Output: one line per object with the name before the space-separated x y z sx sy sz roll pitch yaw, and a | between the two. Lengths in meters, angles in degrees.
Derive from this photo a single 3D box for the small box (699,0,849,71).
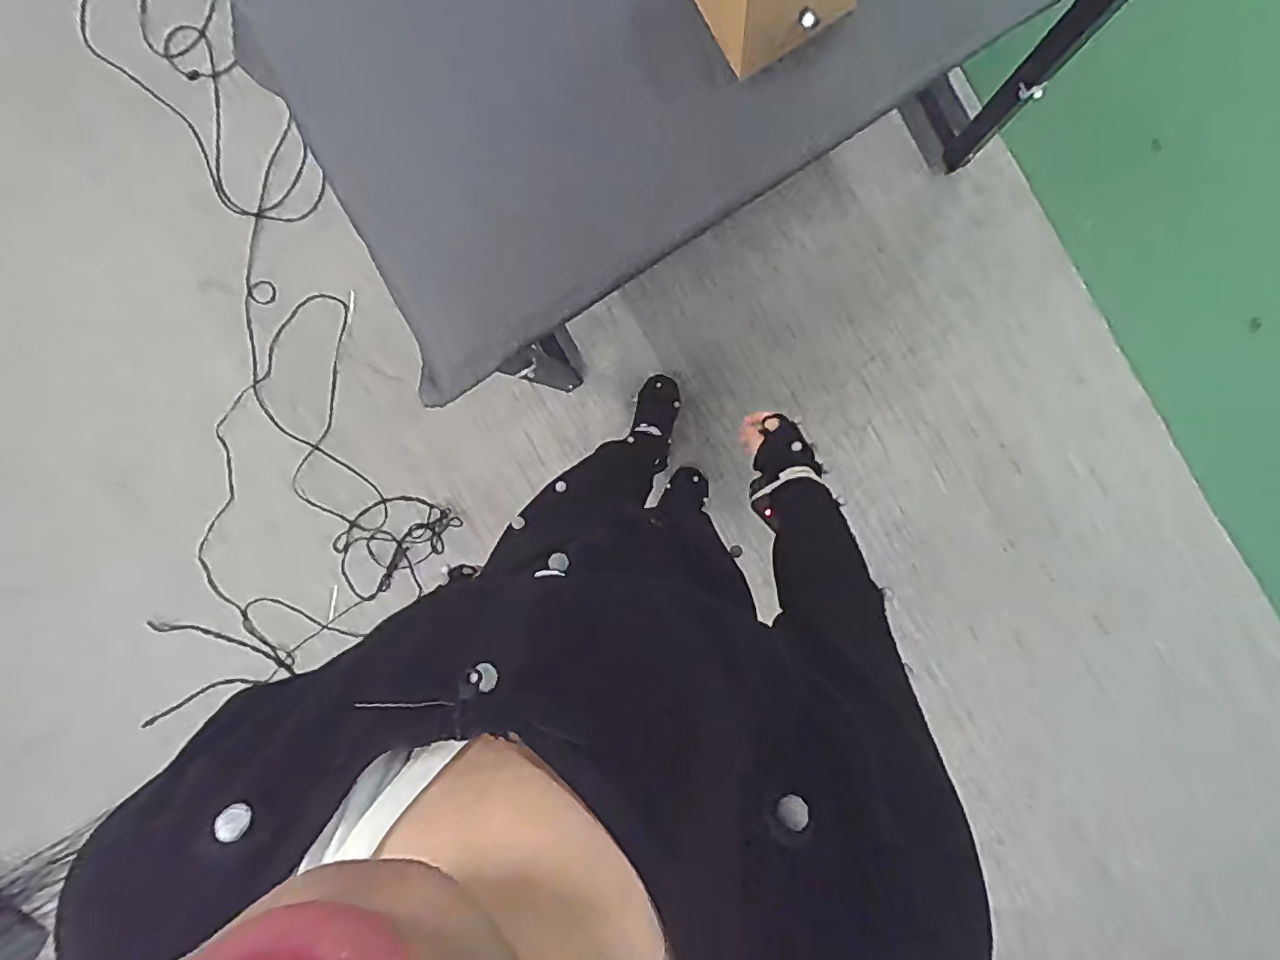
small box | 0.147 -0.628 0.609 0.168 0.176 0.179 -29 91 8
